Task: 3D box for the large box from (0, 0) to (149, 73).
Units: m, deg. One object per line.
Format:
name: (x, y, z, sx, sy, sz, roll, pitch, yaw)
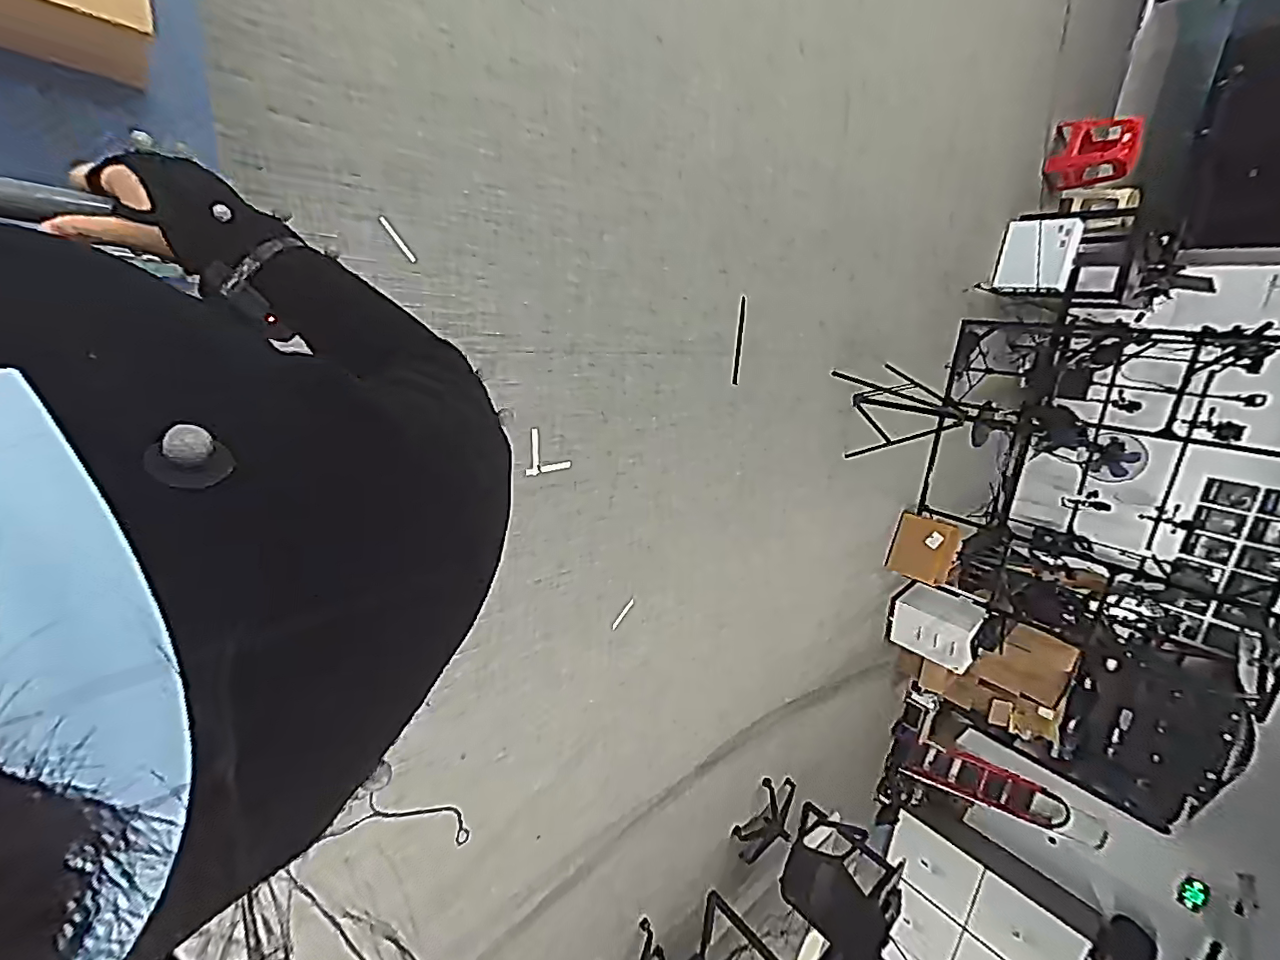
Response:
large box: (-0.856, -0.745, 0.620, 0.408, 0.320, 0.320, -7, 111, -41)
